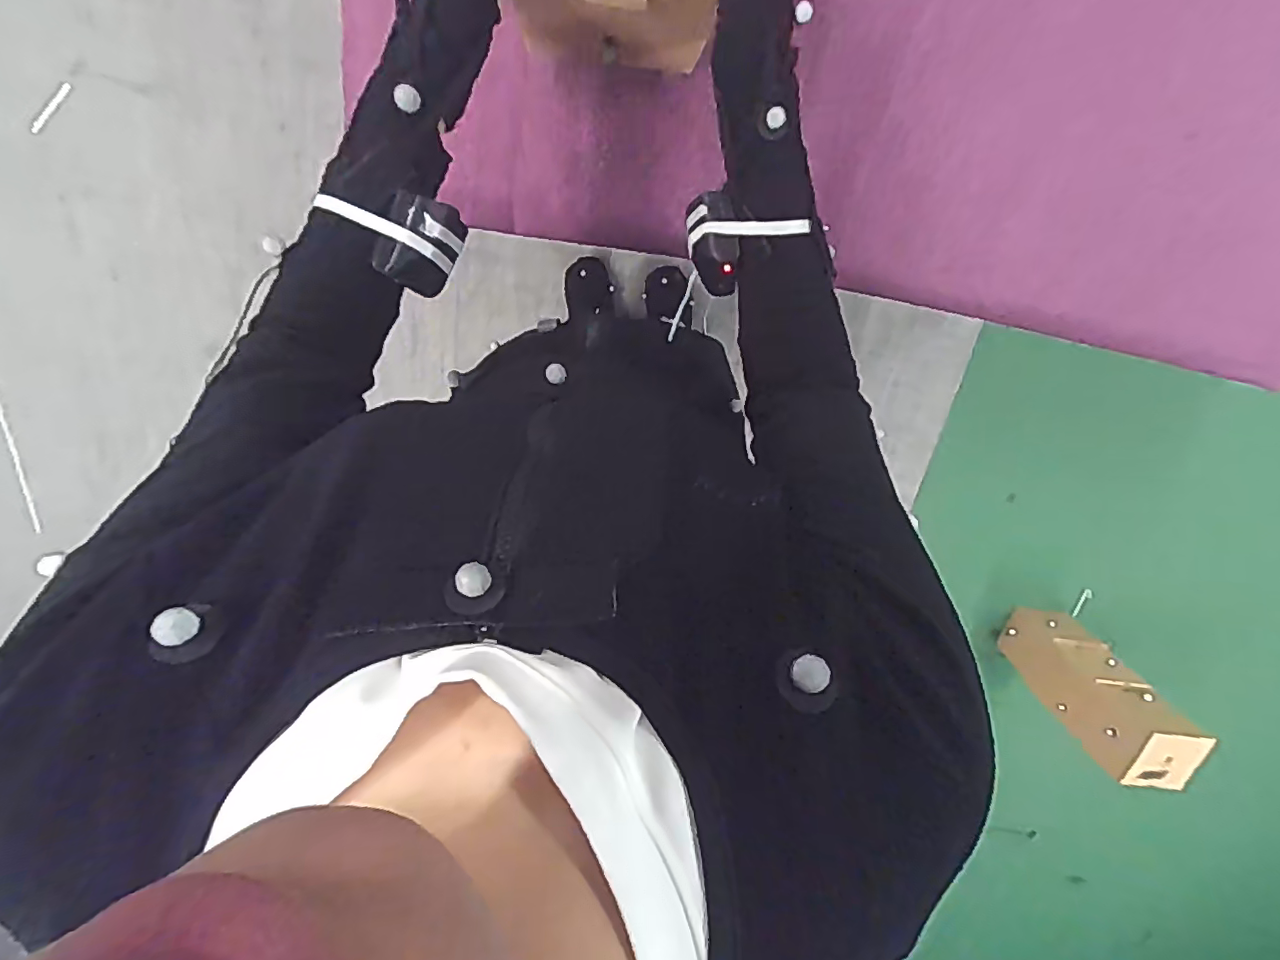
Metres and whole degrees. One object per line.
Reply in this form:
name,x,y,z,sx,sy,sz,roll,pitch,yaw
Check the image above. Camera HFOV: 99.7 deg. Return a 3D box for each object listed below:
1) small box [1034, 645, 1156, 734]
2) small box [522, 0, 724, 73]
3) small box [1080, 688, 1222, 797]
small box,1.271,0.594,1.528,0.168,0.176,0.179,8,113,-4
small box,-0.013,-0.466,0.430,0.168,0.176,0.179,4,111,-5
small box,1.282,0.666,1.378,0.168,0.176,0.179,9,113,-6
